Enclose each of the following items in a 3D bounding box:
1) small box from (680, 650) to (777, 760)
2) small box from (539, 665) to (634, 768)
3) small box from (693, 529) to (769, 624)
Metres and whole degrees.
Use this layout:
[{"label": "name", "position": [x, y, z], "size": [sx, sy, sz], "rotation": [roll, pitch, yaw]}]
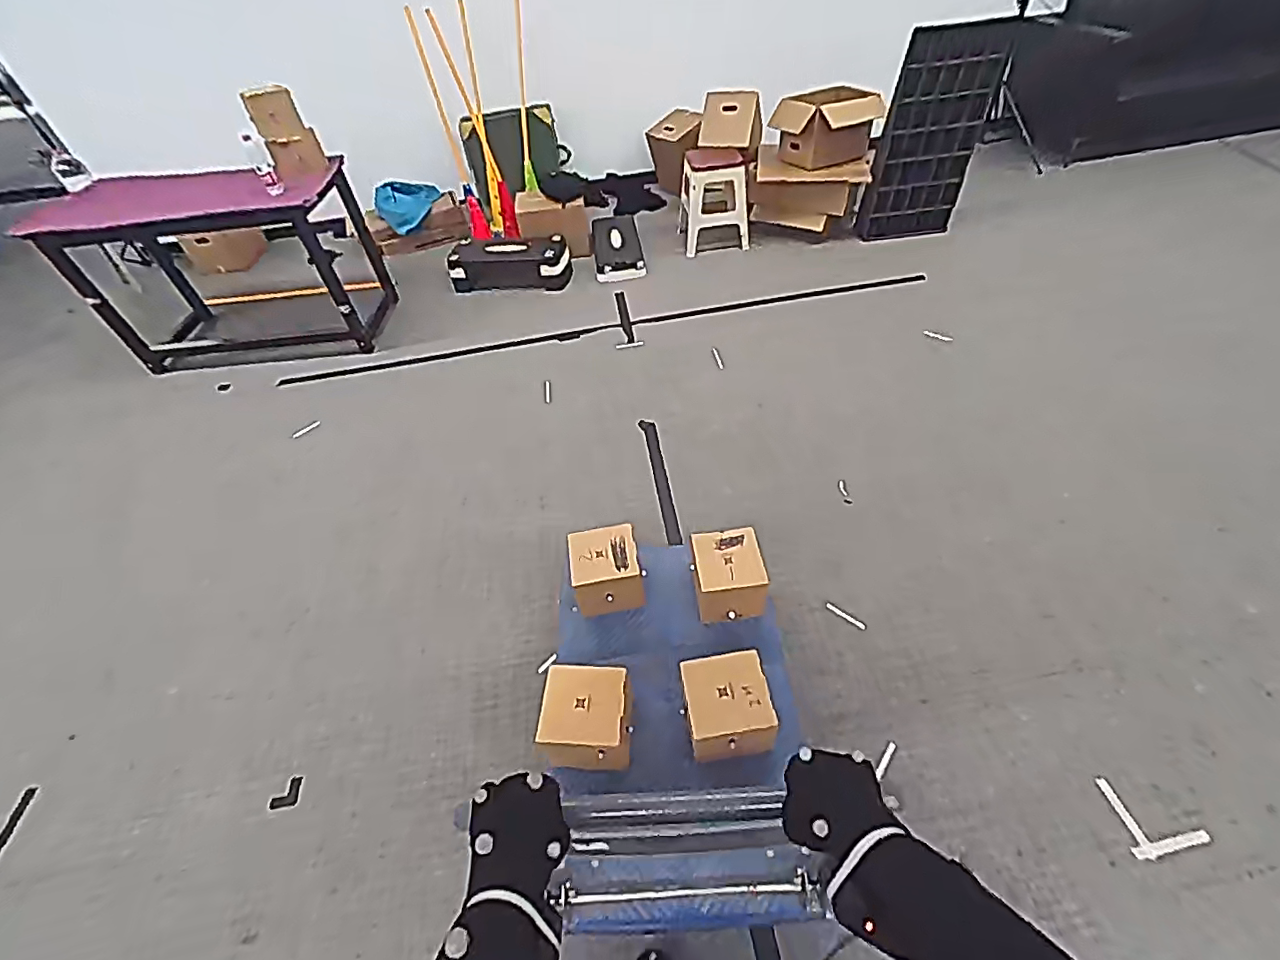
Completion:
[{"label": "small box", "position": [0.192, 0.504, 1.202], "size": [0.179, 0.176, 0.168], "rotation": [-9, 47, -1]}, {"label": "small box", "position": [-0.112, 0.532, 1.214], "size": [0.179, 0.176, 0.168], "rotation": [0, 47, 5]}, {"label": "small box", "position": [0.232, 0.255, 1.427], "size": [0.168, 0.176, 0.179], "rotation": [-7, 48, 0]}]
